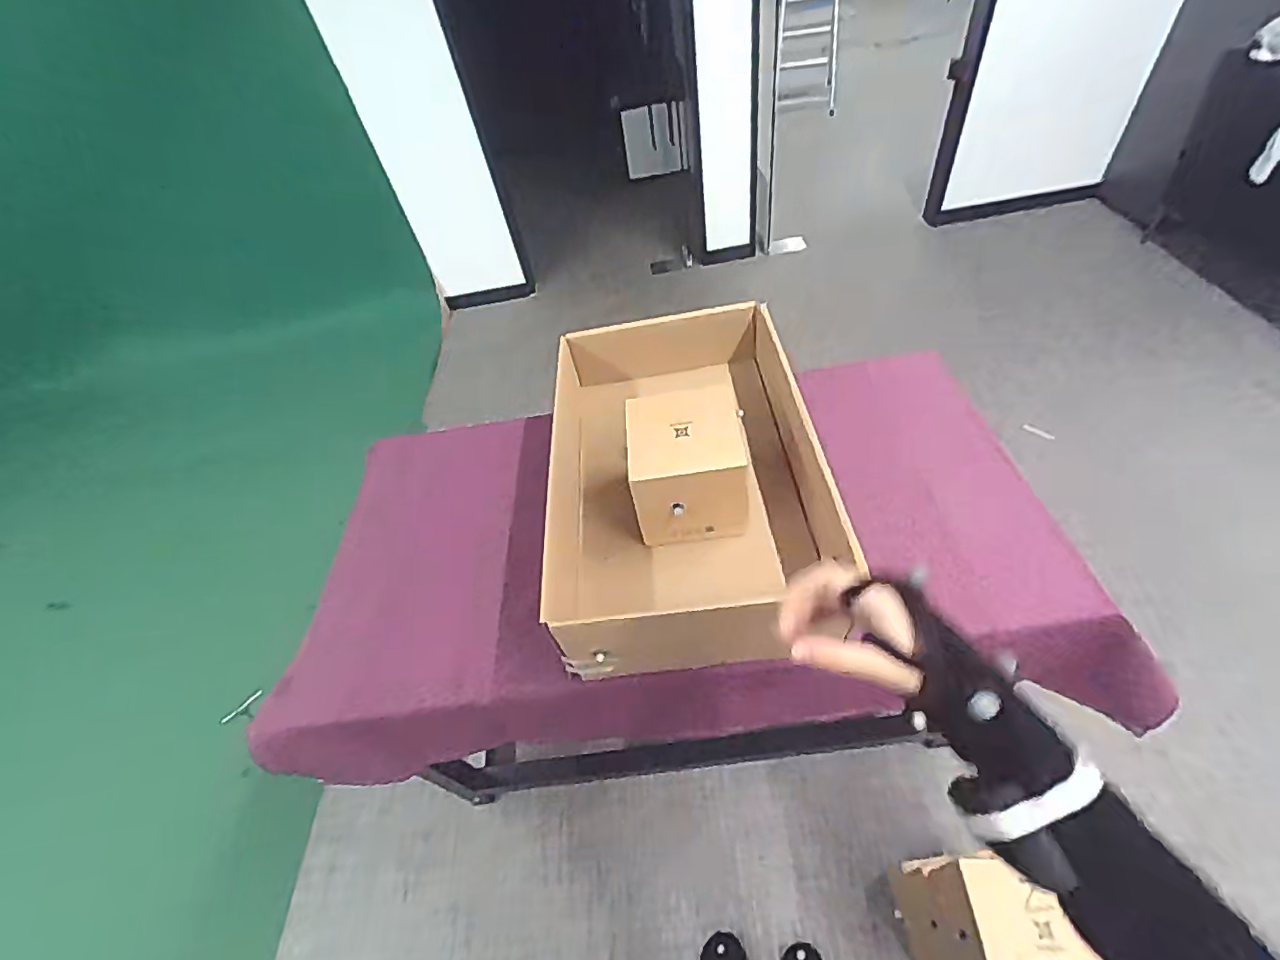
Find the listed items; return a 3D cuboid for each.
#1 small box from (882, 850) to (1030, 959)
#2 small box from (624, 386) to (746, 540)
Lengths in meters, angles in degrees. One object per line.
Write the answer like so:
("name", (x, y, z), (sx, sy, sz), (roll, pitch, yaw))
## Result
("small box", (0.600, 0.837, 1.056), (0.179, 0.176, 0.168), (-10, 49, 4))
("small box", (0.072, -0.018, 0.850), (0.168, 0.176, 0.179), (-8, 48, 5))
